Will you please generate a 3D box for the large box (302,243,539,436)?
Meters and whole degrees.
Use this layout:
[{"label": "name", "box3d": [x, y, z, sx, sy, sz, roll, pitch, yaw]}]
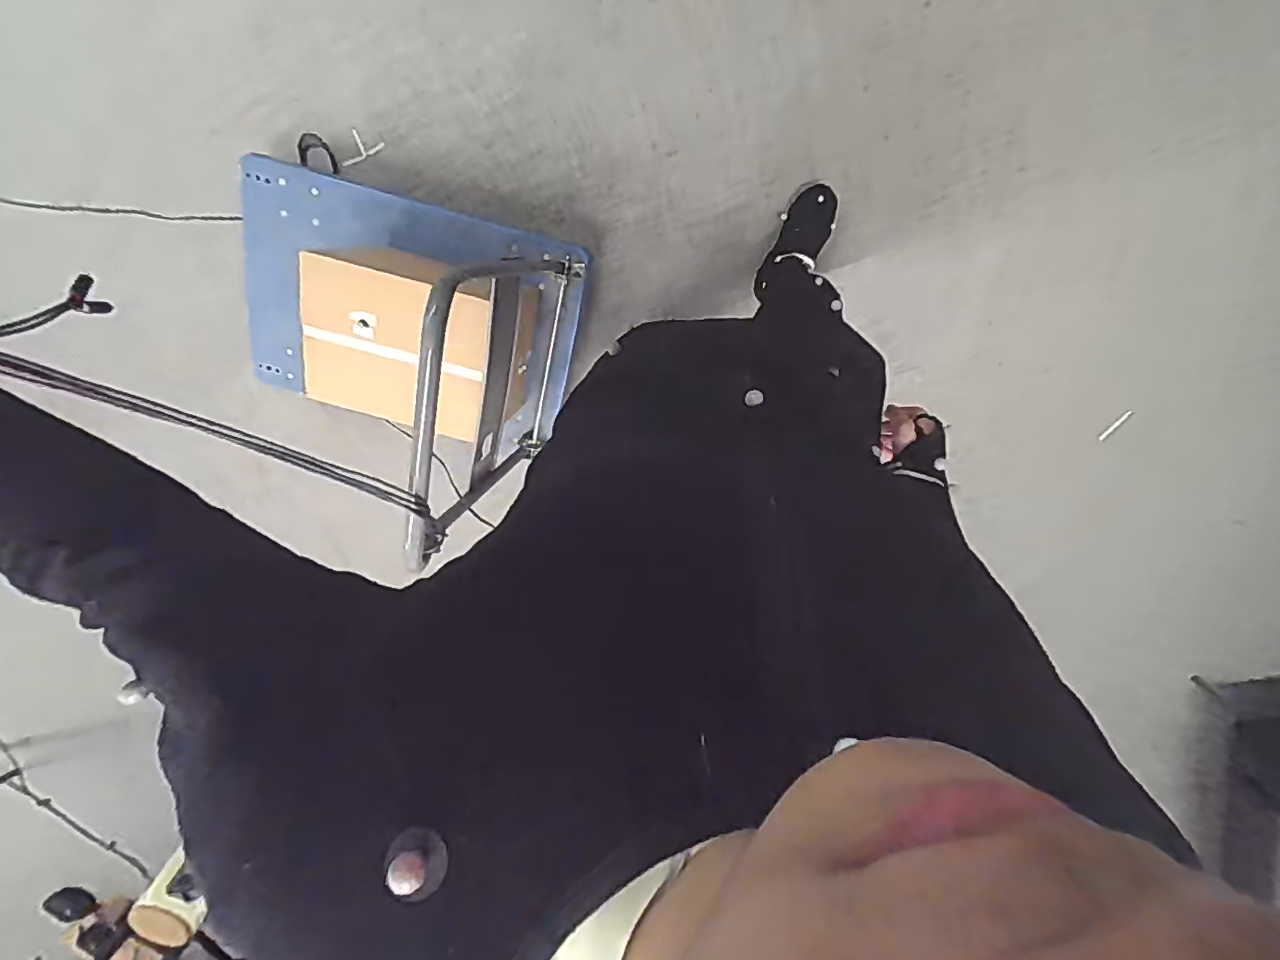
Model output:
[{"label": "large box", "box3d": [-0.485, -0.338, 1.253, 0.408, 0.320, 0.320, 16, 116, 1]}]
